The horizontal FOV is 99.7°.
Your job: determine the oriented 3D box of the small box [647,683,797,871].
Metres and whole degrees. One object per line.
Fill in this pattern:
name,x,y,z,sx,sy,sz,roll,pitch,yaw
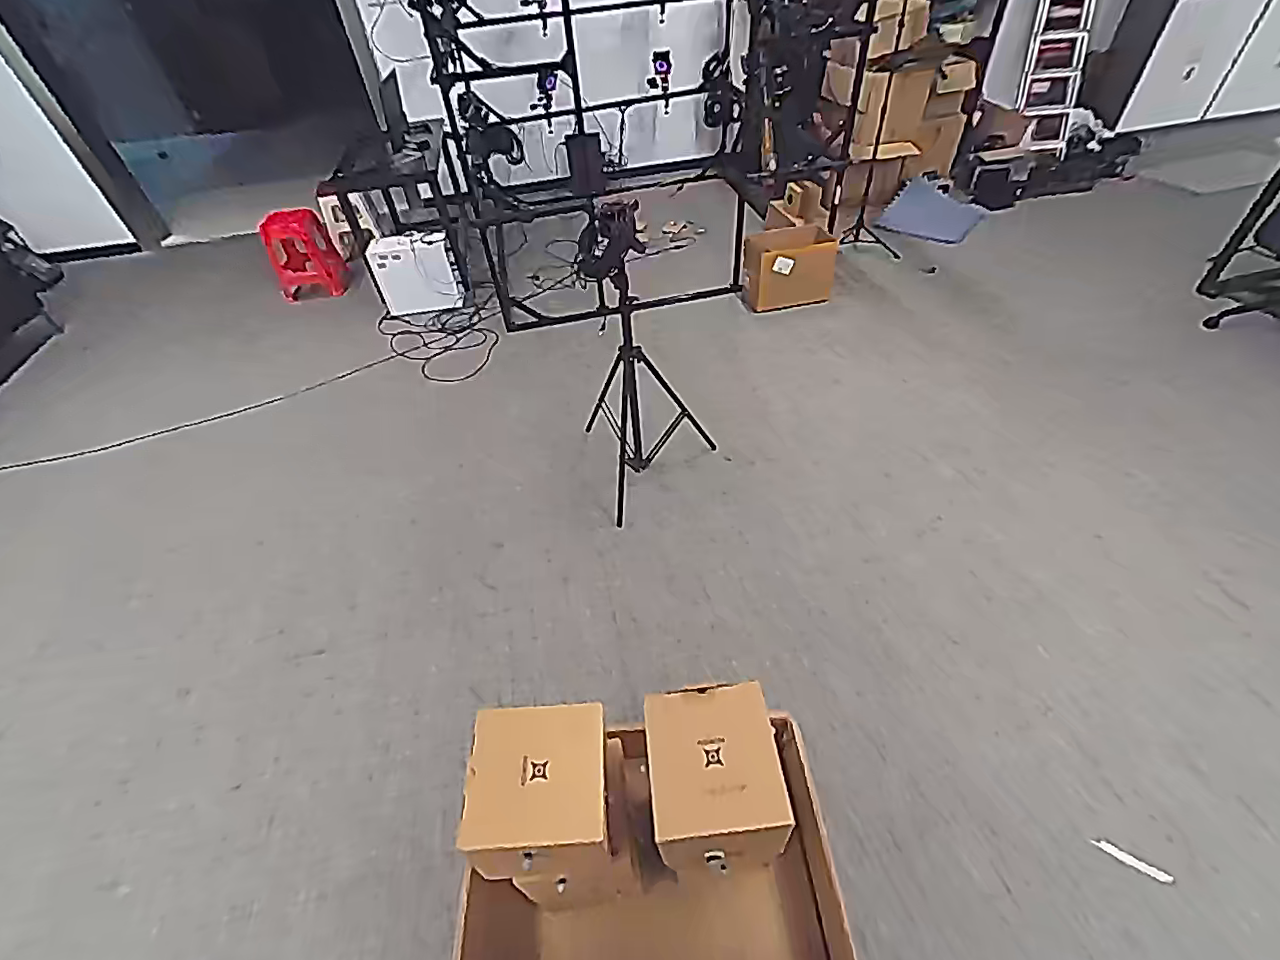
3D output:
small box,0.102,0.405,0.739,0.168,0.176,0.179,-8,44,1

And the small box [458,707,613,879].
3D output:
small box,-0.127,0.429,0.740,0.179,0.176,0.168,-4,45,-1
